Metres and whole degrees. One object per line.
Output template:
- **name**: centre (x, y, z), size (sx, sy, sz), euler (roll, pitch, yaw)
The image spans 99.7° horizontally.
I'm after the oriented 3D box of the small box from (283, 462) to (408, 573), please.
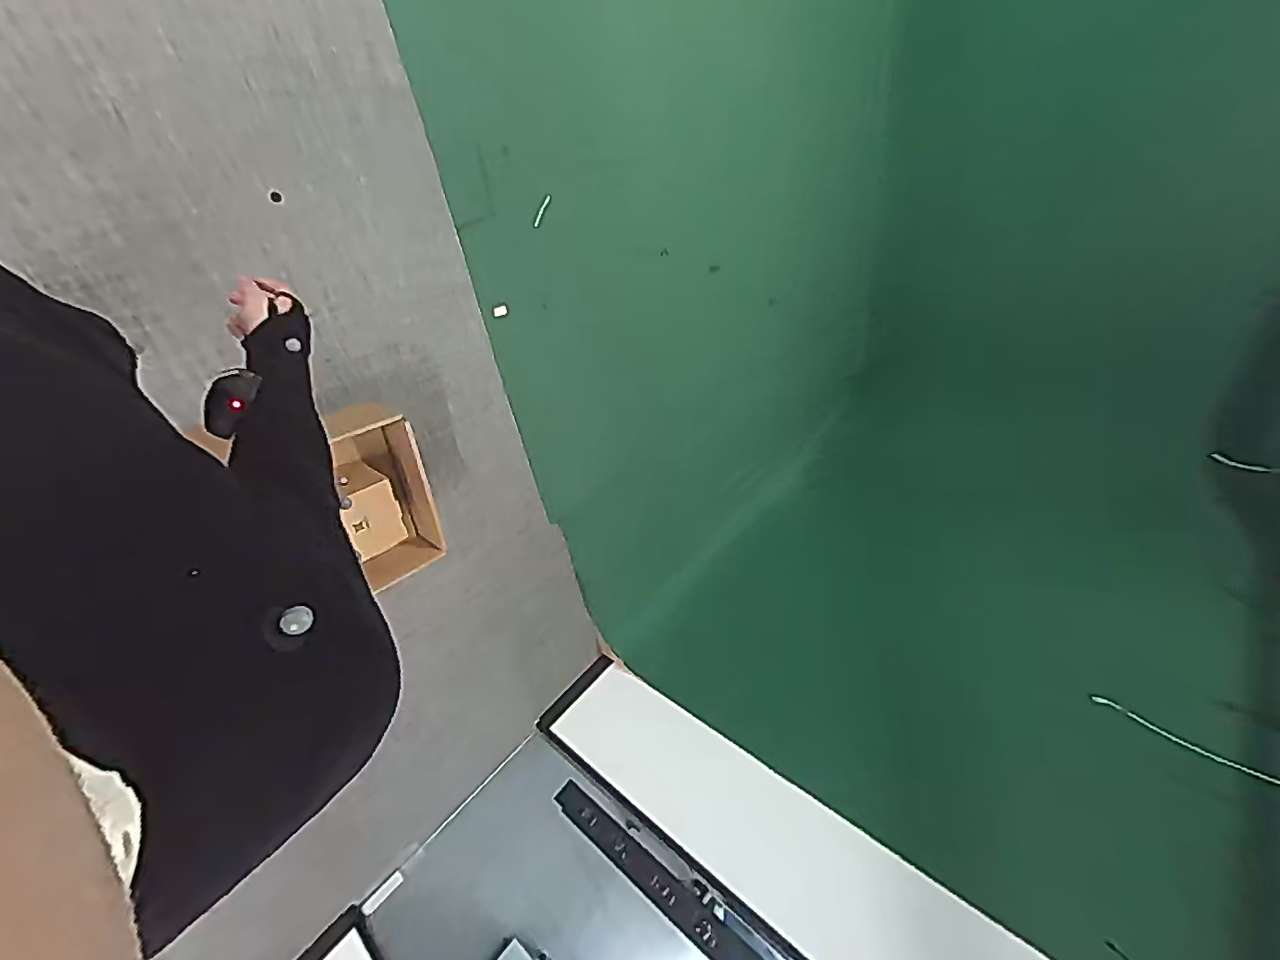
- **small box**: centre (-0.672, 0.077, 1.240), size (0.179, 0.176, 0.168), euler (-32, 129, -39)
